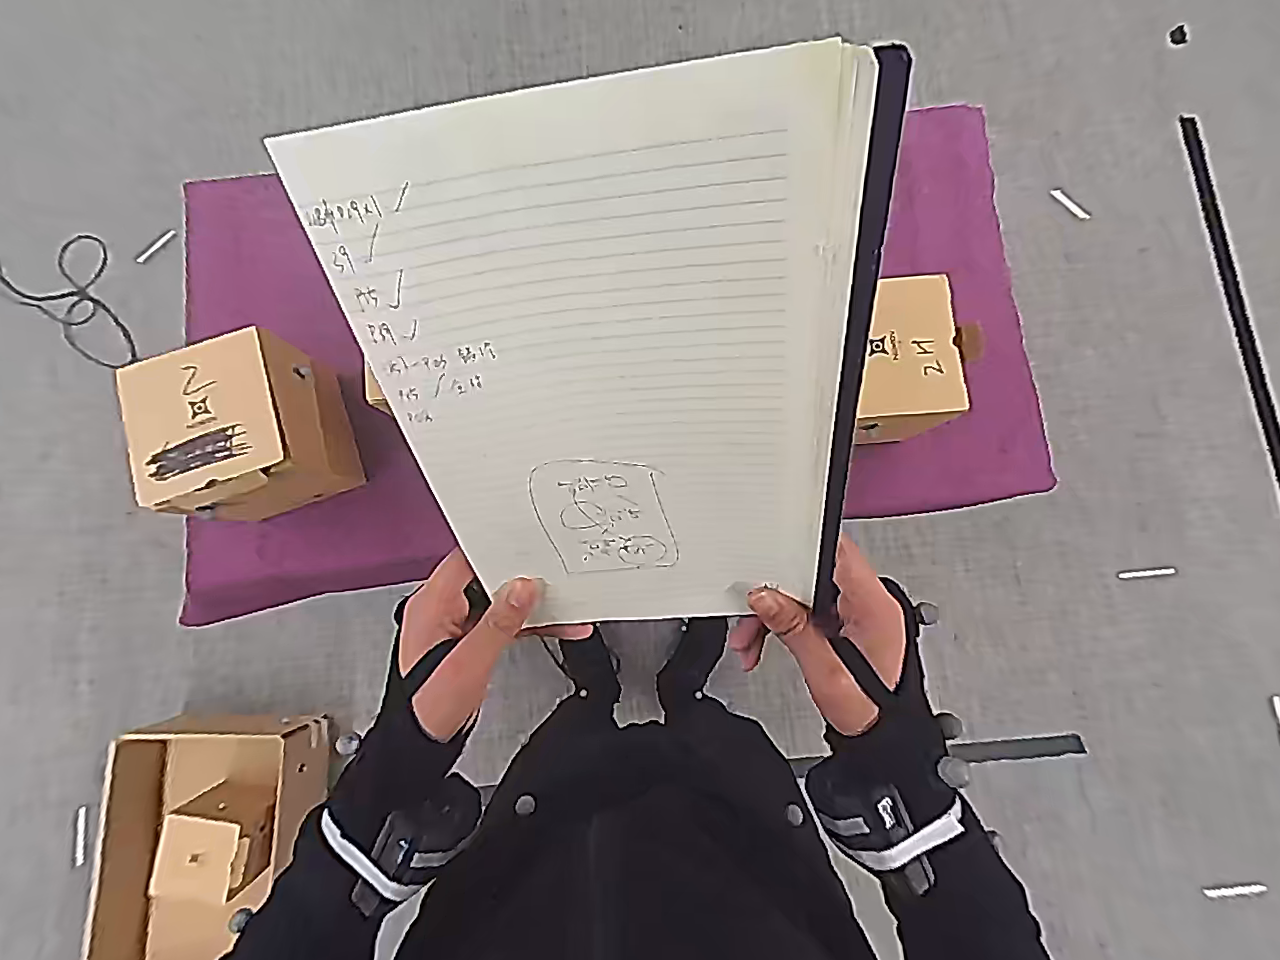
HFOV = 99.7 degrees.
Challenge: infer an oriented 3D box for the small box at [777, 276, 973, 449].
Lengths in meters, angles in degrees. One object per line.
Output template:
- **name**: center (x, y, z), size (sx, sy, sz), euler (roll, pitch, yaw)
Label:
- **small box**: center (0.280, -0.138, 0.691), size (0.179, 0.176, 0.168), euler (-4, 82, 0)

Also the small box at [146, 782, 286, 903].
- **small box**: center (-0.966, 0.826, 1.250), size (0.179, 0.176, 0.168), euler (9, 83, 1)

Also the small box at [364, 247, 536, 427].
- **small box**: center (-0.232, -0.170, 0.697), size (0.168, 0.176, 0.179), euler (-5, 81, -1)
